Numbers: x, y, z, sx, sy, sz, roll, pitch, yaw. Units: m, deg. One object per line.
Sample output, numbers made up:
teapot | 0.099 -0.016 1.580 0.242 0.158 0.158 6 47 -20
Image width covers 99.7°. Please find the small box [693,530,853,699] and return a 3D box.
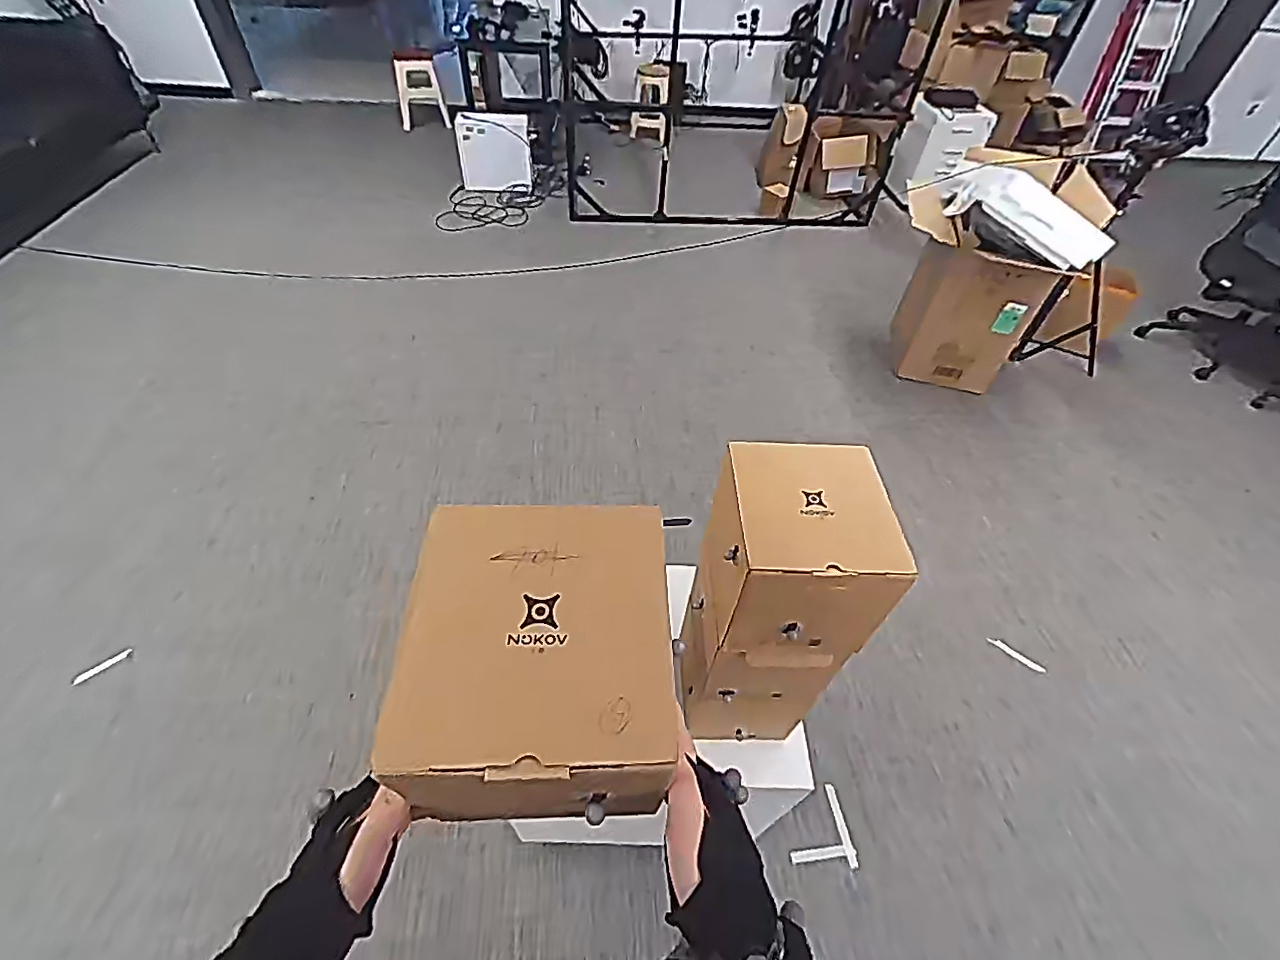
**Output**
small box | 0.168 0.188 0.743 0.168 0.176 0.179 2 47 -2

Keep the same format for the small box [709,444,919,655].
small box | 0.178 0.081 0.621 0.168 0.176 0.179 2 49 -3

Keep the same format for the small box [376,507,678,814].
small box | -0.064 0.139 0.401 0.168 0.176 0.179 1 51 -4
